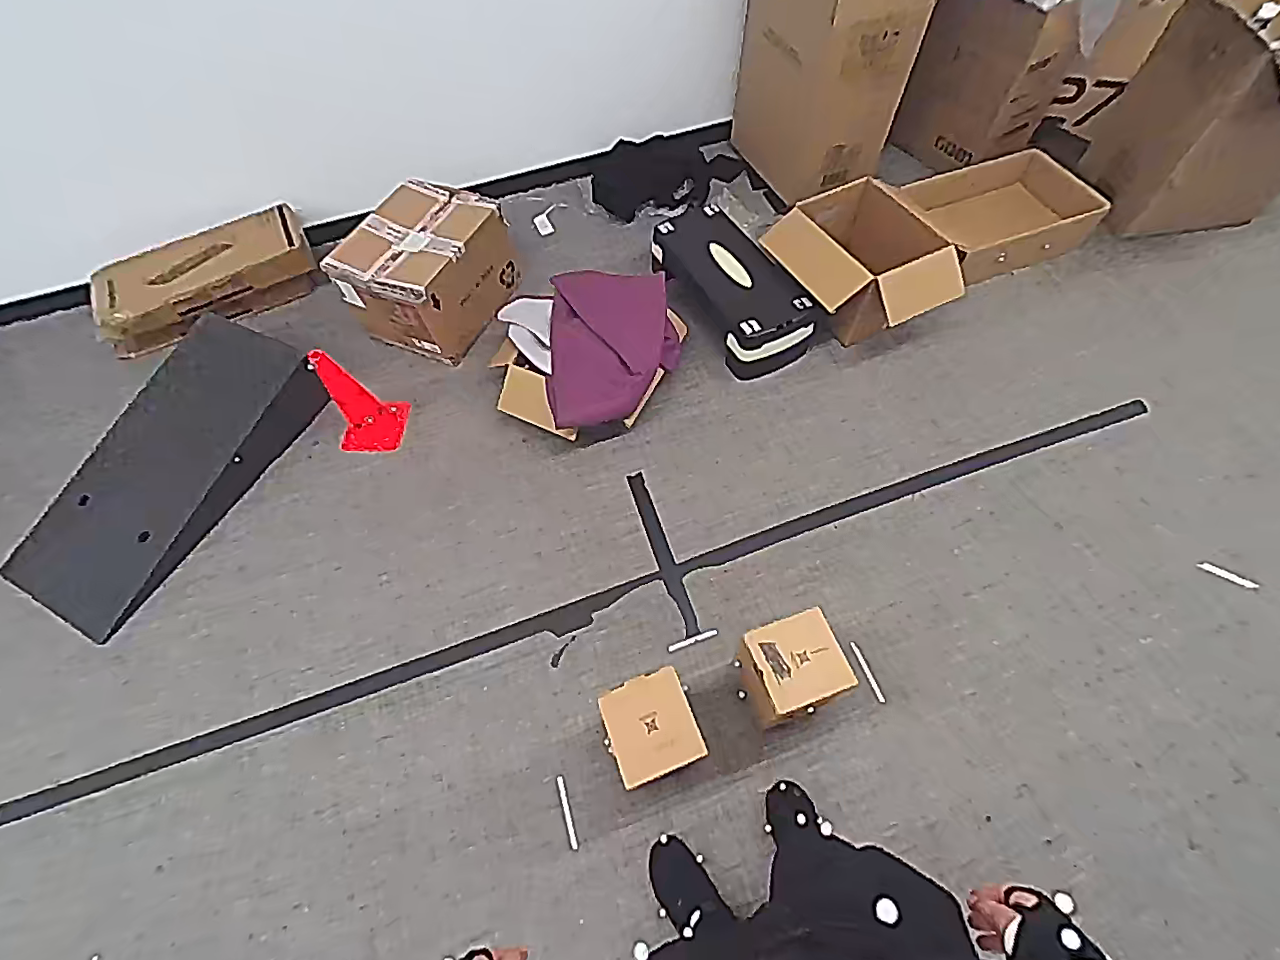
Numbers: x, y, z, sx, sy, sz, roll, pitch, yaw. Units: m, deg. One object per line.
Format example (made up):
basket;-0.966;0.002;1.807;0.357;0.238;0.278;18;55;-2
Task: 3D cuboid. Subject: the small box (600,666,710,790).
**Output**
small box;0.029;0.506;1.100;0.168;0.176;0.179;-21;63;-7

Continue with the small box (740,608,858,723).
small box;0.322;0.397;1.142;0.179;0.176;0.168;-18;61;-8

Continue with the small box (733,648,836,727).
small box;0.334;0.476;1.286;0.168;0.176;0.179;-16;62;-7
